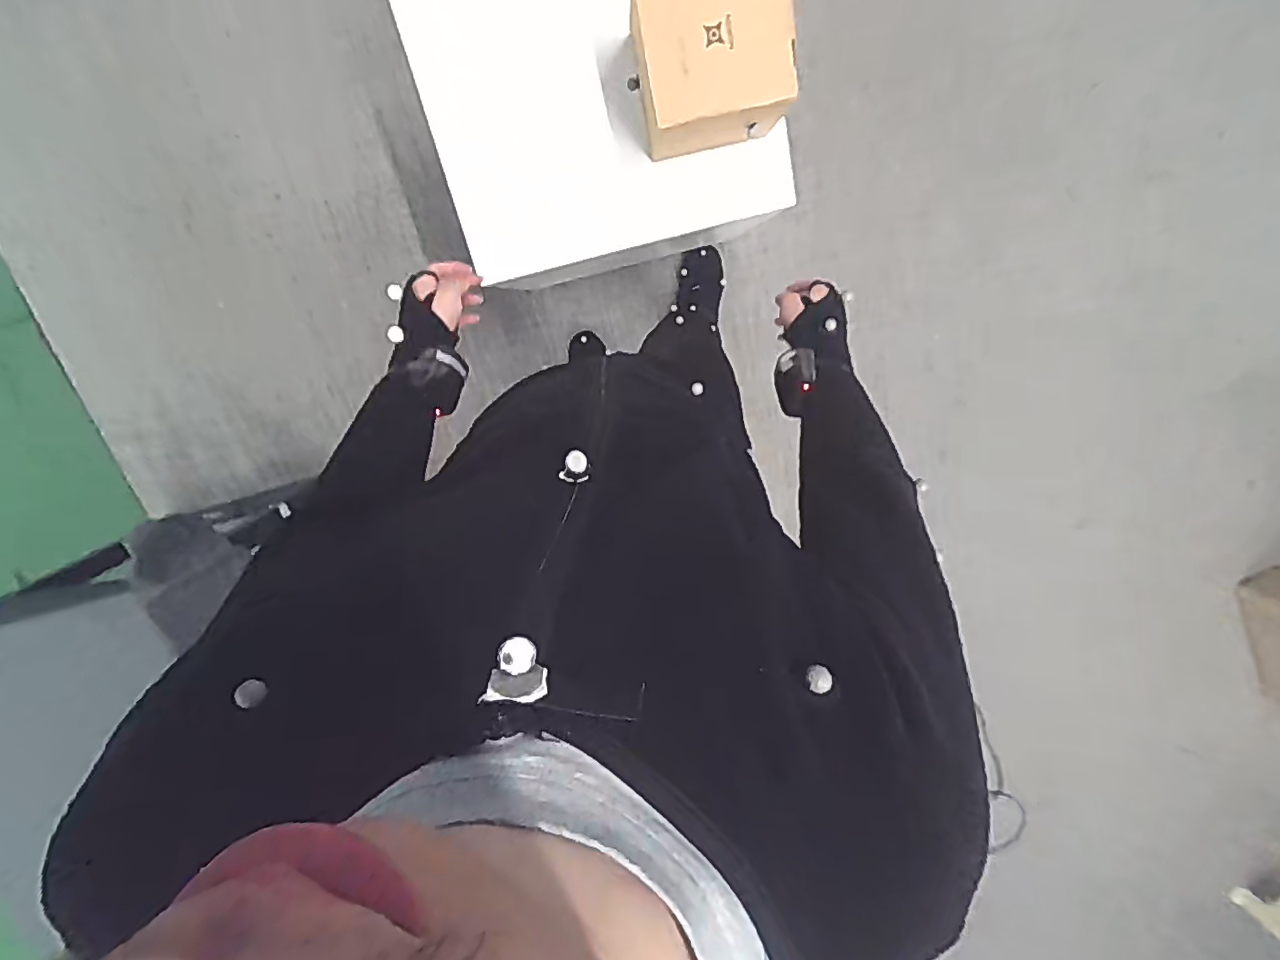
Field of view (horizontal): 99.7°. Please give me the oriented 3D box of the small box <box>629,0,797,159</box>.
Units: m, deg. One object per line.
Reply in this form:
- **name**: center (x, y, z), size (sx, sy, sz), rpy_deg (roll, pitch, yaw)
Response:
- **small box**: center (0.084, -0.537, 0.693), size (0.179, 0.176, 0.168), rpy_deg (-12, 108, 4)
